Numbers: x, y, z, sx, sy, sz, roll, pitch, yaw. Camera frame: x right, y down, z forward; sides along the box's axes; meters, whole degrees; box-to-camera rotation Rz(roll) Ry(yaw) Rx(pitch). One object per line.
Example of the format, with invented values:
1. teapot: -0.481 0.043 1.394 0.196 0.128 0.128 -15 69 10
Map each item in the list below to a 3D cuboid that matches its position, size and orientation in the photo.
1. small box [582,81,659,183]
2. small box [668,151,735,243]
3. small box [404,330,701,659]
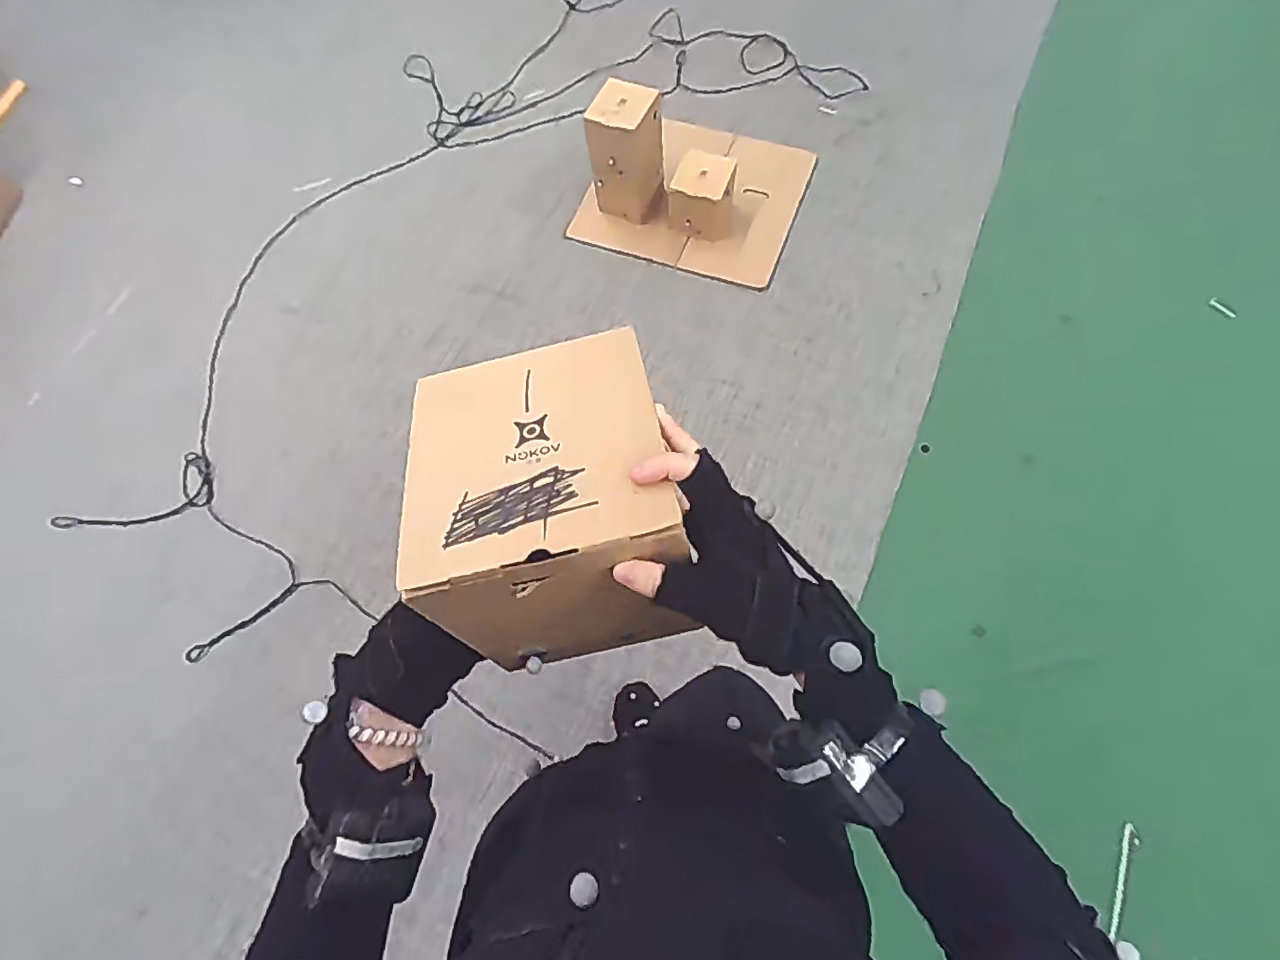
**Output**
1. small box: -0.051 -1.026 1.601 0.168 0.176 0.179 22 73 13
2. small box: 0.191 -0.895 1.715 0.168 0.176 0.179 18 73 10
3. small box: -0.054 0.023 0.412 0.168 0.176 0.179 -14 55 2
